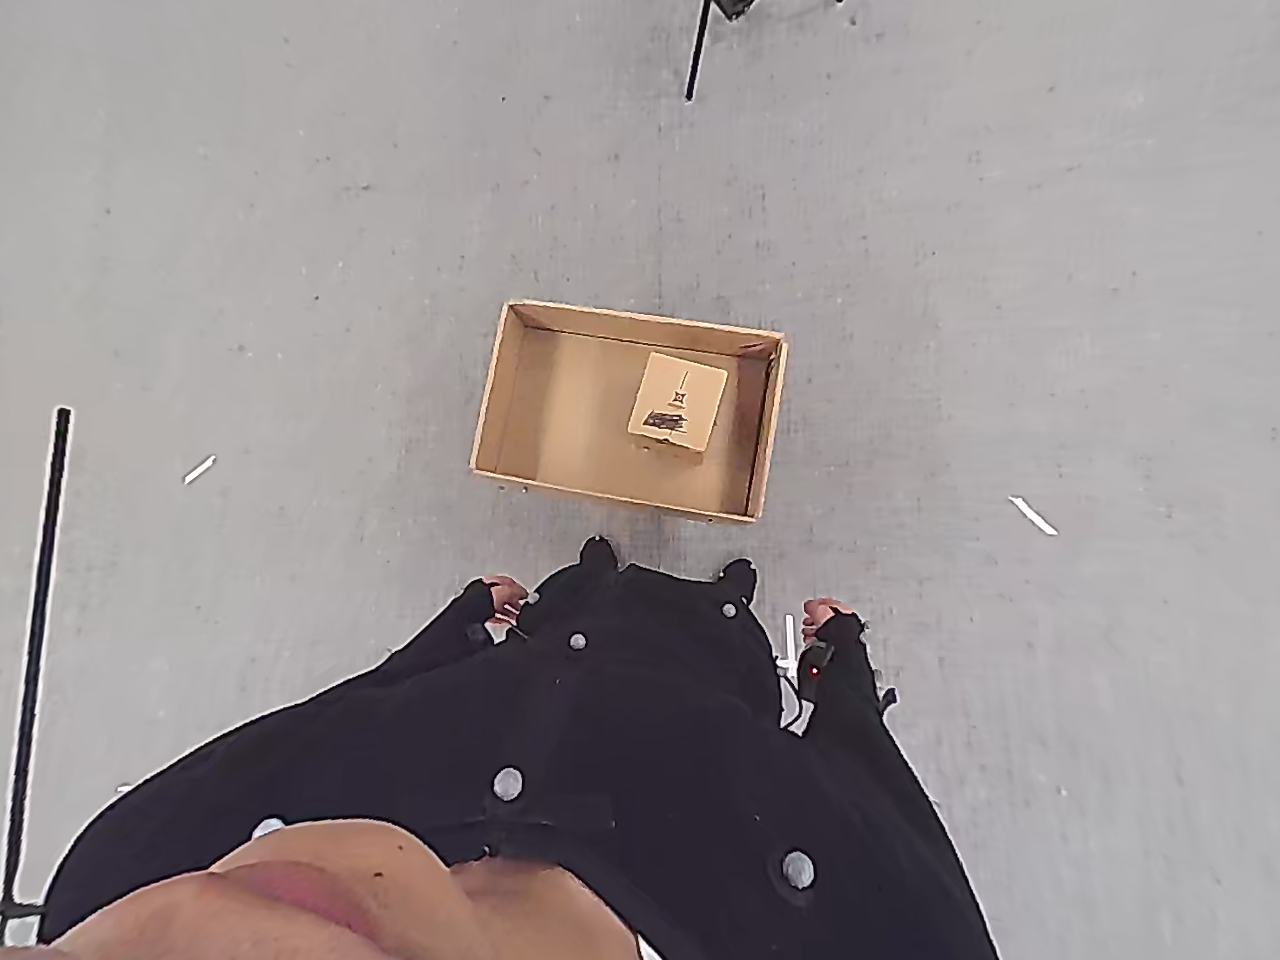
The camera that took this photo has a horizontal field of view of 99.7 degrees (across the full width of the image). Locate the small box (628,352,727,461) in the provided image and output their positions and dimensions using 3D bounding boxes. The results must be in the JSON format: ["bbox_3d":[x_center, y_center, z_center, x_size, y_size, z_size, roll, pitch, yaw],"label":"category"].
[{"bbox_3d":[0.084,-0.150,1.169,0.168,0.176,0.179,16,85,7],"label":"small box"}]
